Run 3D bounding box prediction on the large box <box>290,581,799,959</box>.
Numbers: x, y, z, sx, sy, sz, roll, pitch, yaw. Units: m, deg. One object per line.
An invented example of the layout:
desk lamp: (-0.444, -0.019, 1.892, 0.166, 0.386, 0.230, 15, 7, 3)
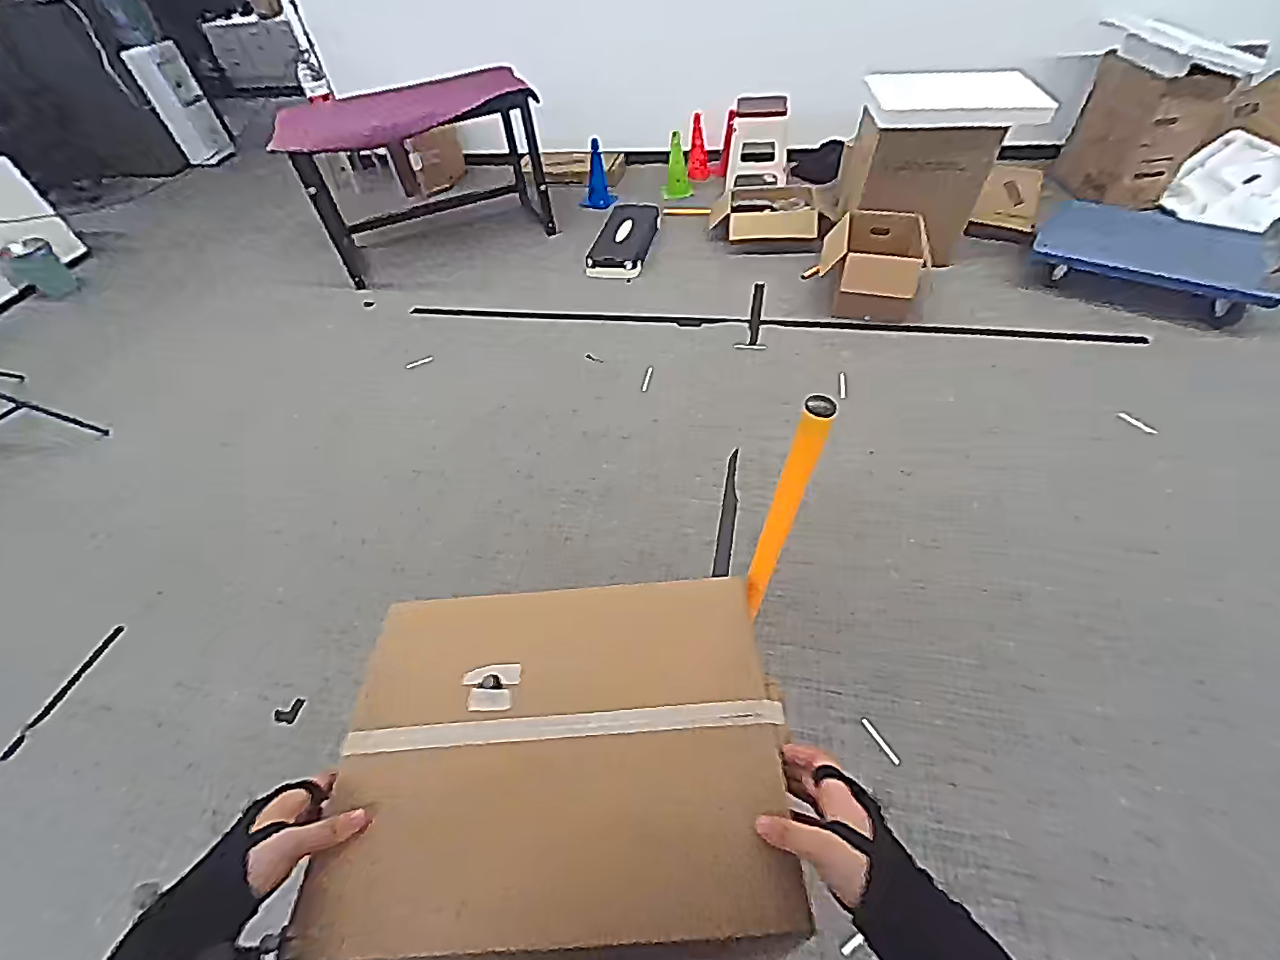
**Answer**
large box: (-0.068, 0.351, 0.620, 0.408, 0.320, 0.320, -7, 44, 2)
